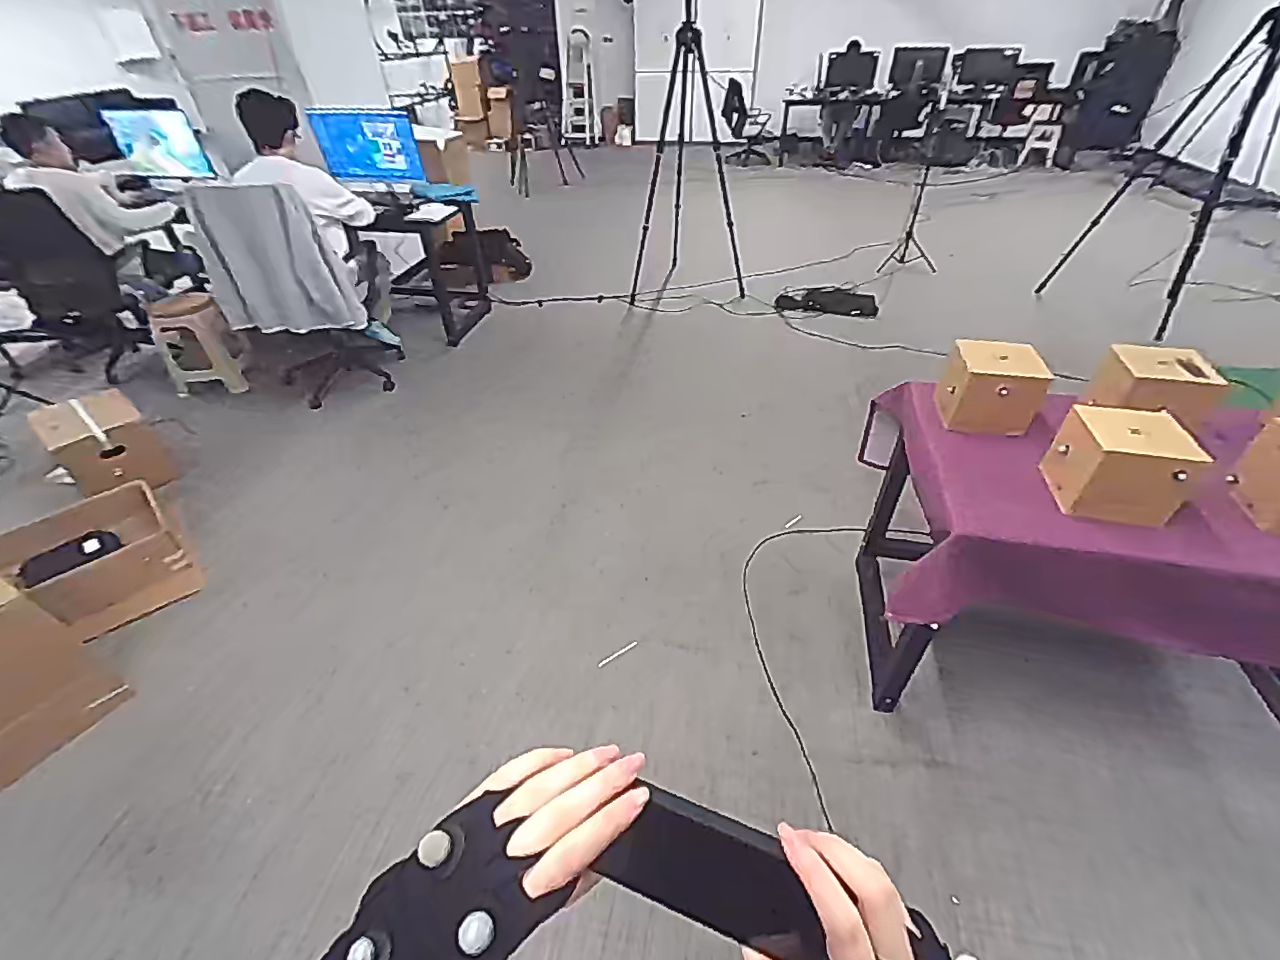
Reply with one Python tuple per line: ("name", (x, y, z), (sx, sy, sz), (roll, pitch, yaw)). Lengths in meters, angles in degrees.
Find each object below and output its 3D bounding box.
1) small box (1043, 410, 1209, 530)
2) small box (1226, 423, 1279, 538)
("small box", (0.954, -0.020, 1.091), (0.179, 0.176, 0.168), (9, 40, 11))
("small box", (1.302, 0.012, 1.038), (0.179, 0.176, 0.168), (10, 41, 12))
